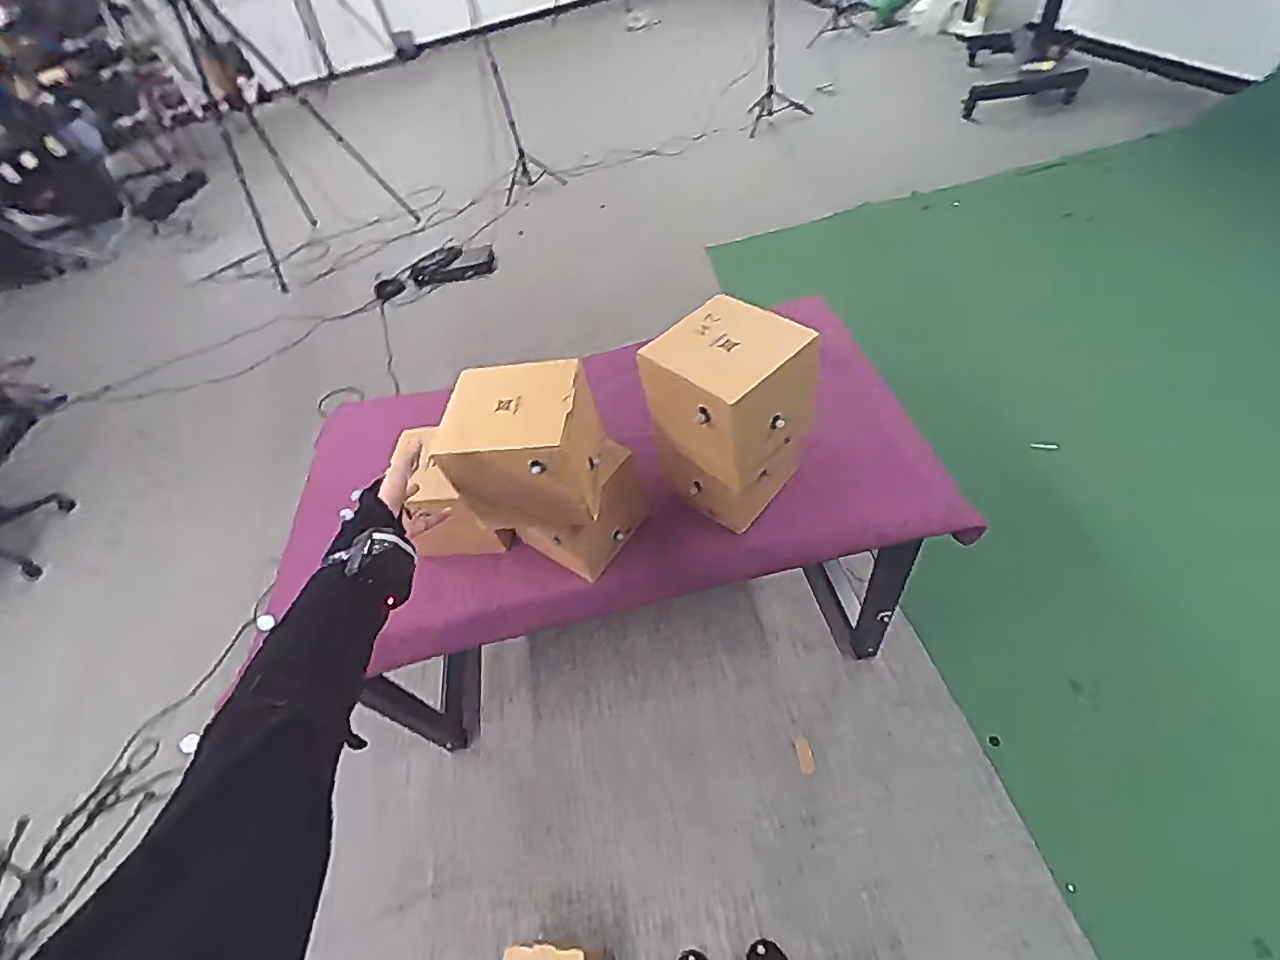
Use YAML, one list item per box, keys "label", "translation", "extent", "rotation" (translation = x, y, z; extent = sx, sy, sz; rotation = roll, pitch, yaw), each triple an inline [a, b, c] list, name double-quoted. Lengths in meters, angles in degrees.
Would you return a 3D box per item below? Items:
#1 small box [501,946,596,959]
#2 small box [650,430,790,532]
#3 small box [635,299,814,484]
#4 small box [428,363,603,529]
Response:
- label: "small box"
  translation: [-0.182, 1.031, 1.054]
  extent: [0.168, 0.176, 0.179]
  rotation: [-4, 51, 10]
- label: "small box"
  translation: [0.144, -0.044, 0.915]
  extent: [0.168, 0.176, 0.179]
  rotation: [29, 63, 32]
- label: "small box"
  translation: [0.122, -0.120, 0.764]
  extent: [0.168, 0.176, 0.179]
  rotation: [-39, 52, -19]
- label: "small box"
  translation: [-0.161, -0.042, 0.765]
  extent: [0.179, 0.176, 0.168]
  rotation: [-3, 50, 9]
